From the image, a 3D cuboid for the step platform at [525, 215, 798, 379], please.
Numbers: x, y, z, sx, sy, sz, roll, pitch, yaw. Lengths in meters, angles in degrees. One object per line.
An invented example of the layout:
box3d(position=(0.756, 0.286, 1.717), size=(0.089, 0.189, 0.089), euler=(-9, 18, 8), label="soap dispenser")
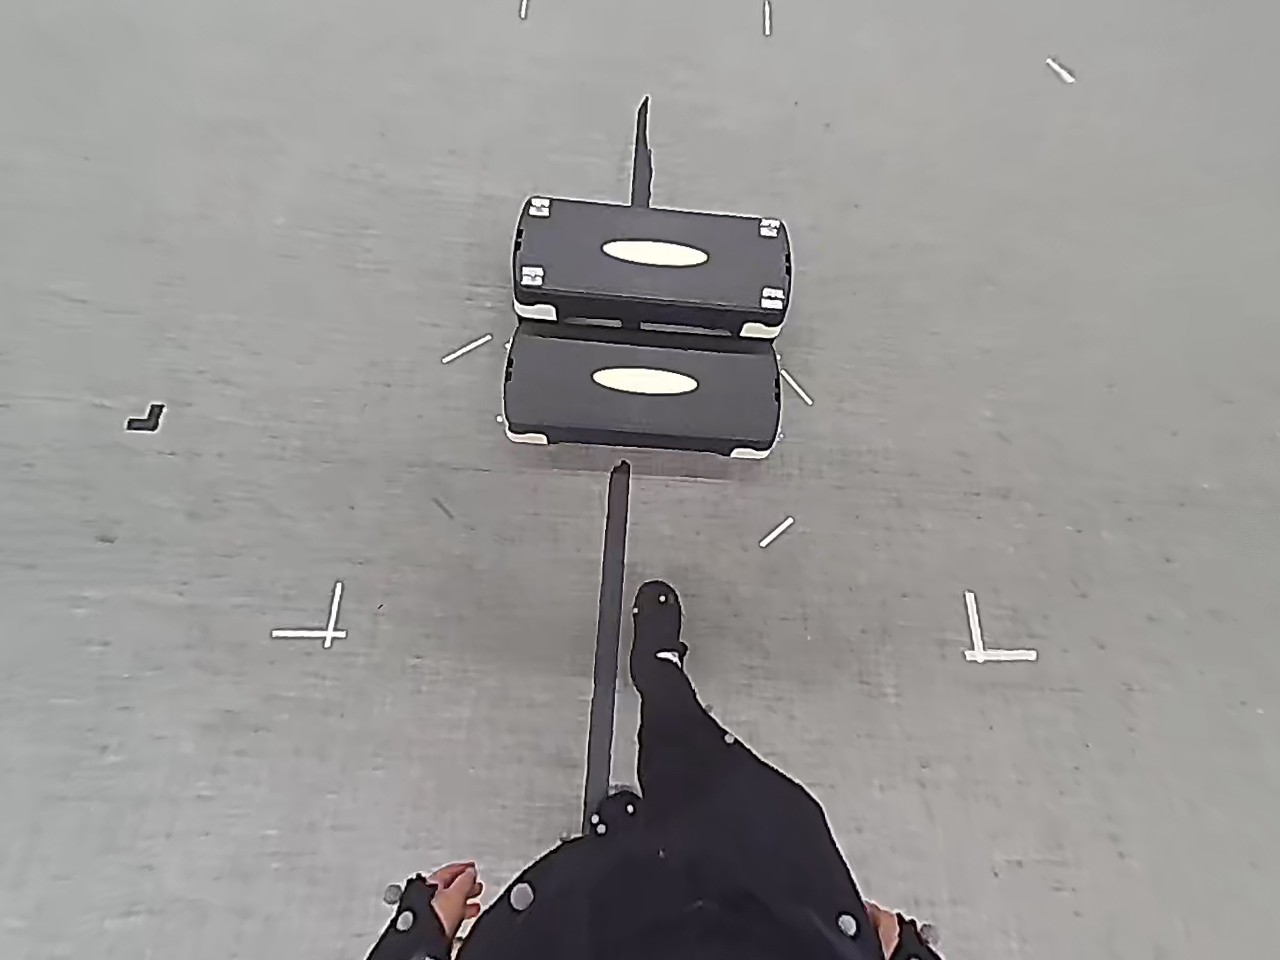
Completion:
box3d(position=(0.054, -0.466, 1.392), size=(0.684, 0.204, 0.286), euler=(8, 71, -2), label="step platform")
